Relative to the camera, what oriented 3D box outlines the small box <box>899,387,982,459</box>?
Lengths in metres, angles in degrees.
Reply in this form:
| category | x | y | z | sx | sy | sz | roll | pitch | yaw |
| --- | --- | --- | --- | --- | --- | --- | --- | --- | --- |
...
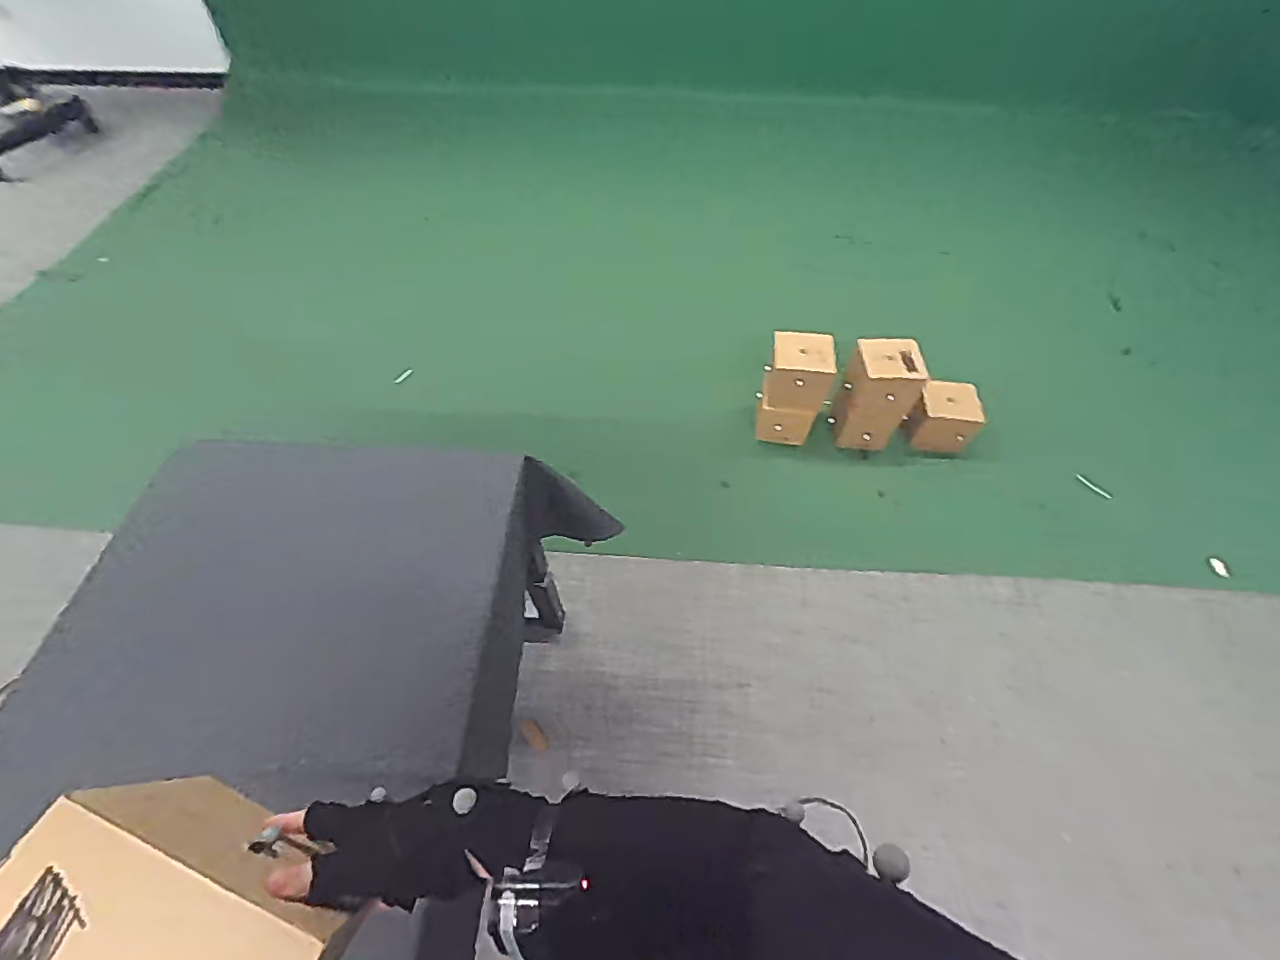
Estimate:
| category | x | y | z | sx | sy | sz | roll | pitch | yaw |
| --- | --- | --- | --- | --- | --- | --- | --- | --- | --- |
| small box | 0.999 | -0.188 | 1.811 | 0.179 | 0.176 | 0.168 | 7 | 55 | 4 |

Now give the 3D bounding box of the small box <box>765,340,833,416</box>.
| category | x | y | z | sx | sy | sz | roll | pitch | yaw |
| --- | --- | --- | --- | --- | --- | --- | --- | --- | --- |
| small box | 0.493 | -0.318 | 1.701 | 0.179 | 0.176 | 0.168 | 6 | 55 | 5 |

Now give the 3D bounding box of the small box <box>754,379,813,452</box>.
| category | x | y | z | sx | sy | sz | roll | pitch | yaw |
| --- | --- | --- | --- | --- | --- | --- | --- | --- | --- |
| small box | 0.484 | -0.215 | 1.831 | 0.168 | 0.176 | 0.179 | 7 | 55 | 5 |
